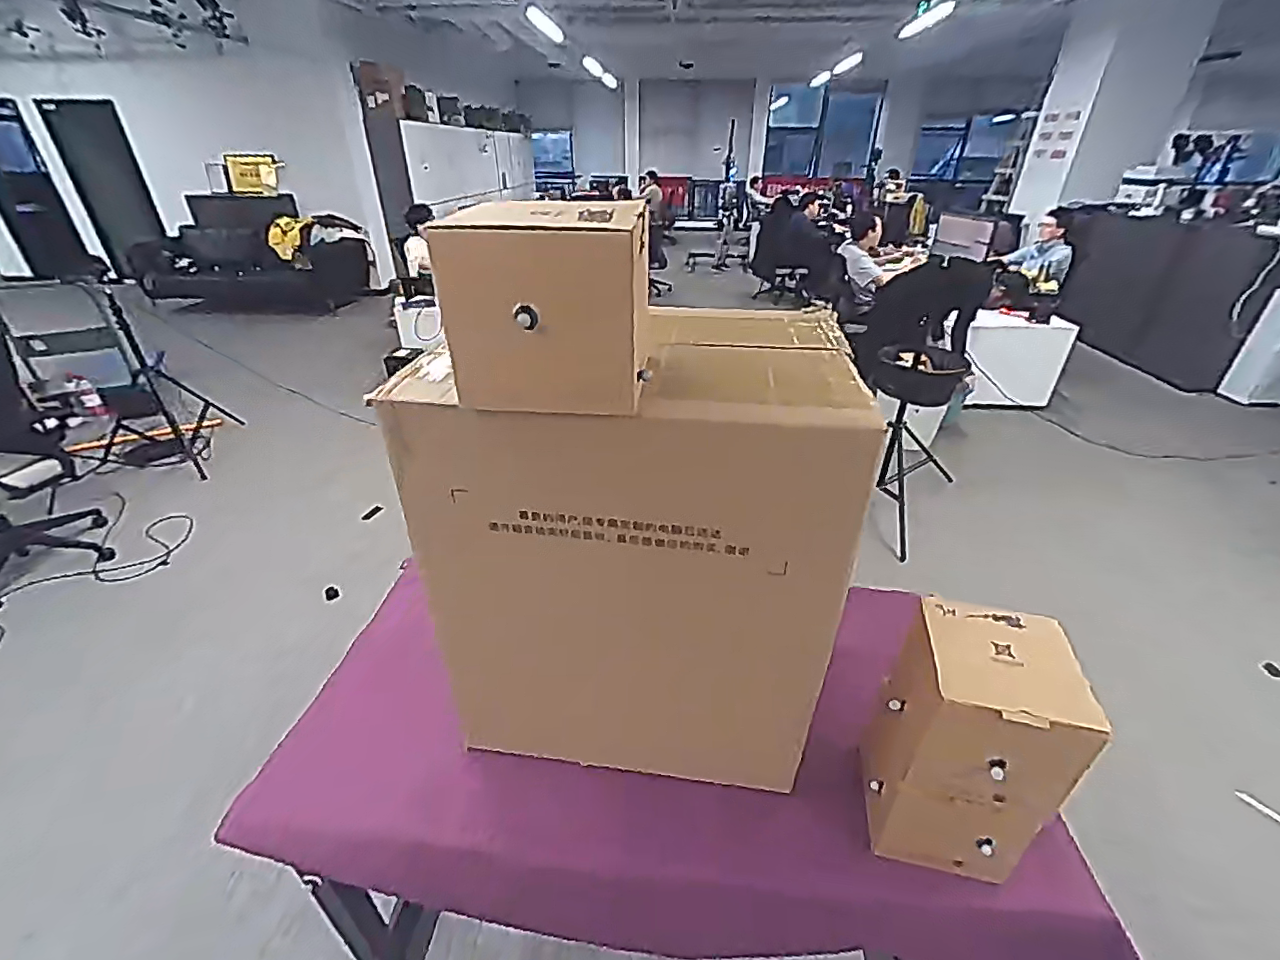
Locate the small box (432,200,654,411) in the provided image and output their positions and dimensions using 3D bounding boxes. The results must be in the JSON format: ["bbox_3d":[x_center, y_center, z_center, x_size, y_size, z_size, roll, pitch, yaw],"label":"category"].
[{"bbox_3d":[-0.079,-0.178,0.549,0.179,0.176,0.168,2,33,5],"label":"small box"}]

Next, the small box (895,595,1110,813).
[{"bbox_3d":[0.436,0.279,0.687,0.168,0.176,0.179,9,32,15],"label":"small box"}]

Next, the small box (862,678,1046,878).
[{"bbox_3d":[0.426,0.420,0.770,0.168,0.176,0.179,7,30,11],"label":"small box"}]
